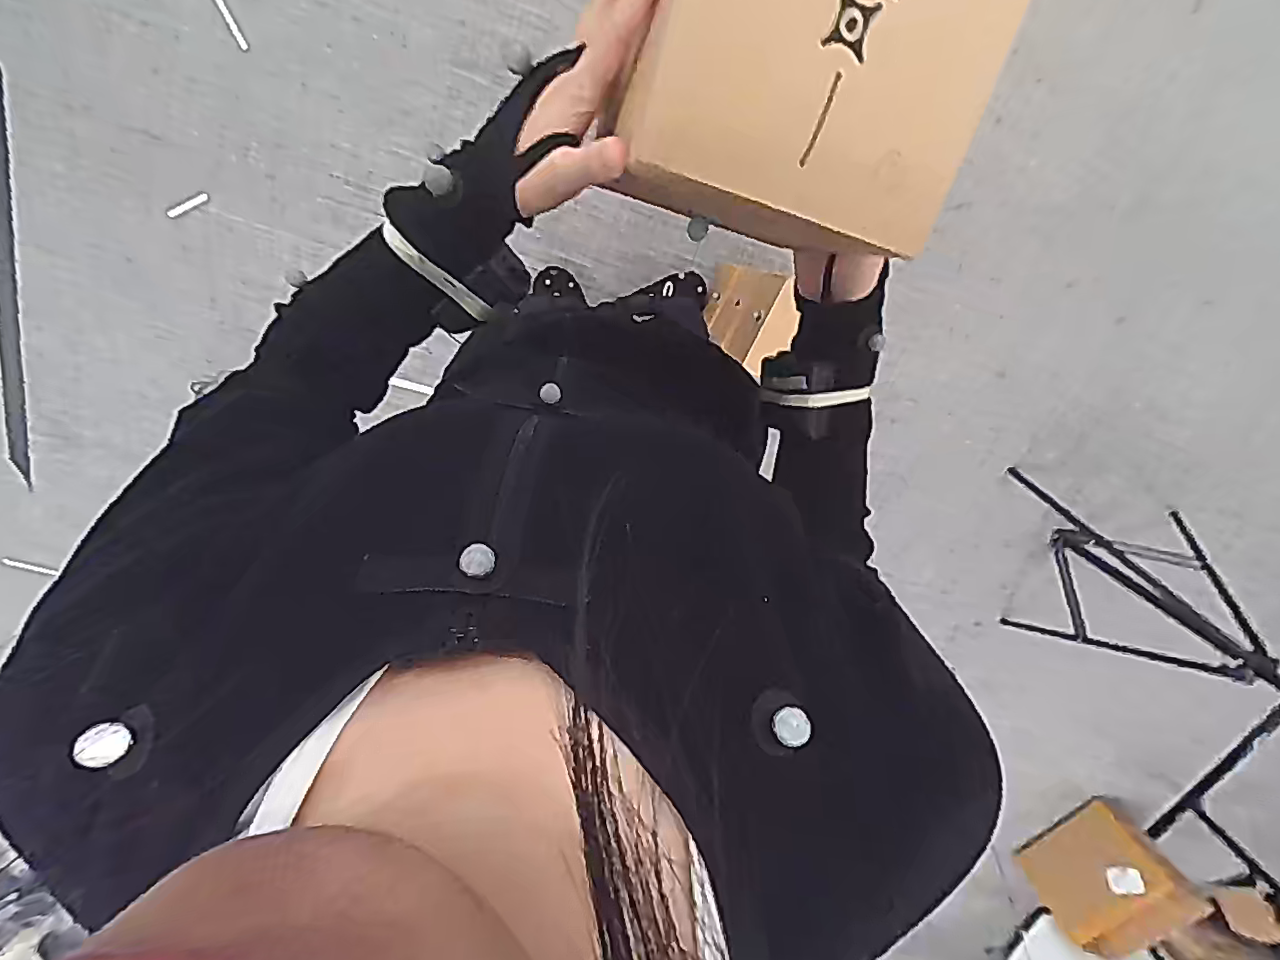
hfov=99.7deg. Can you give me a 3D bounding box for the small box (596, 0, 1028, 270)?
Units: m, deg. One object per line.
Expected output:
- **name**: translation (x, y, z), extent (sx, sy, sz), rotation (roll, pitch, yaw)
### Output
- **small box**: translation (0.079, -0.241, 0.317), extent (0.168, 0.176, 0.179), rotation (10, 112, -18)

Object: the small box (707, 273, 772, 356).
- **small box**: translation (0.264, -0.337, 1.186), extent (0.168, 0.176, 0.179), rotation (25, 109, -13)

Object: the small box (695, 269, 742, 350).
- **small box**: translation (0.246, -0.403, 1.336), extent (0.168, 0.176, 0.179), rotation (22, 110, -12)

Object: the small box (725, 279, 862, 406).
- **small box**: translation (0.280, -0.272, 1.038), extent (0.168, 0.176, 0.179), rotation (22, 110, -11)
